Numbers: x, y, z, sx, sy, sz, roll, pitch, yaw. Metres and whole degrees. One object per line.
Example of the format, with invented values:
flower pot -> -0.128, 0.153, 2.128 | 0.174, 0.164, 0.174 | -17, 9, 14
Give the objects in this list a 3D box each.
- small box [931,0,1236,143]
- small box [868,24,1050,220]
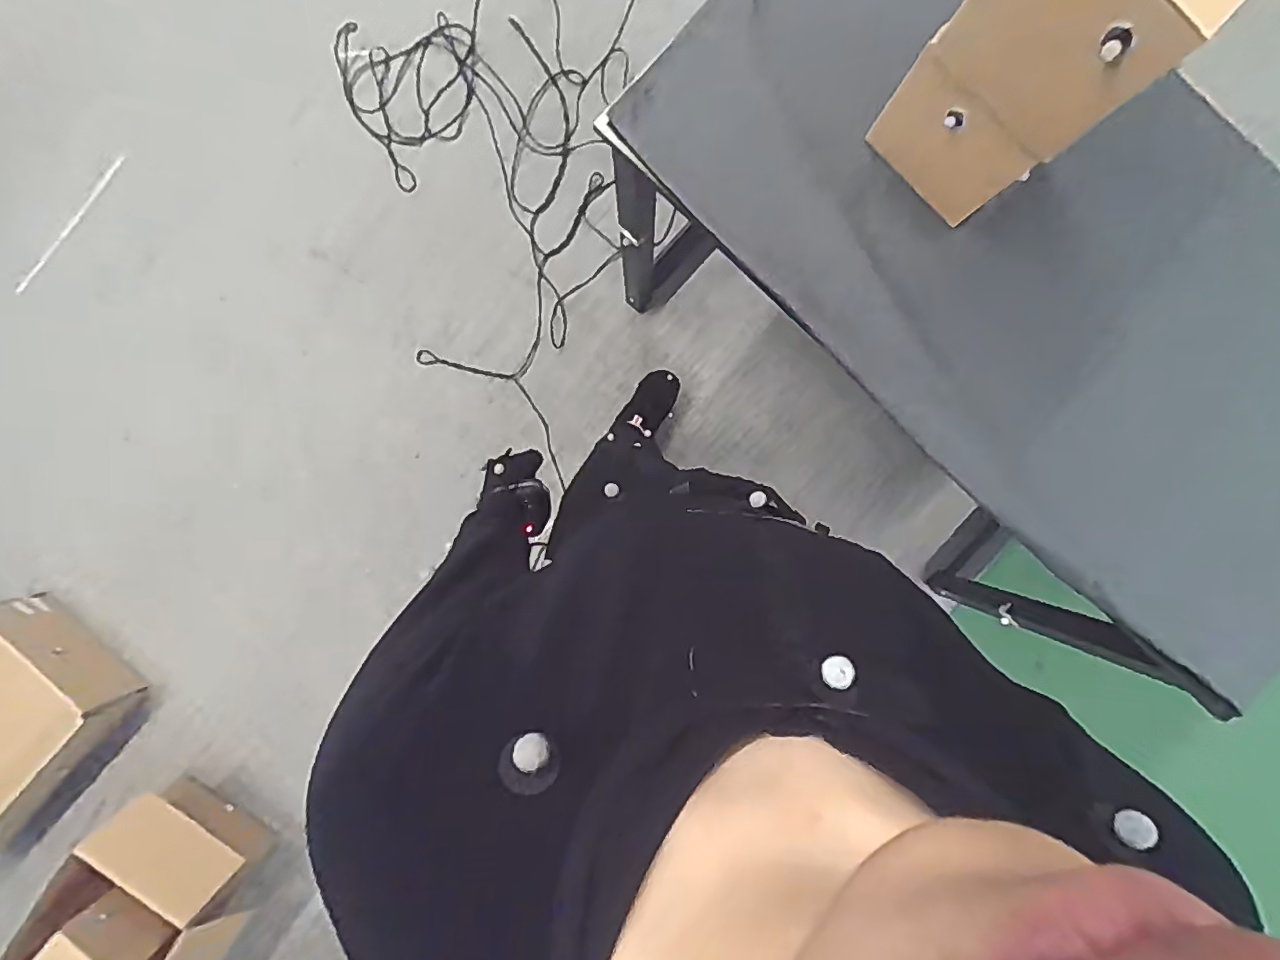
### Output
small box -> 0.426, -0.461, 0.505 | 0.179, 0.176, 0.168 | 43, 89, 0
small box -> 0.424, -0.468, 0.670 | 0.179, 0.176, 0.168 | 45, 89, -1
